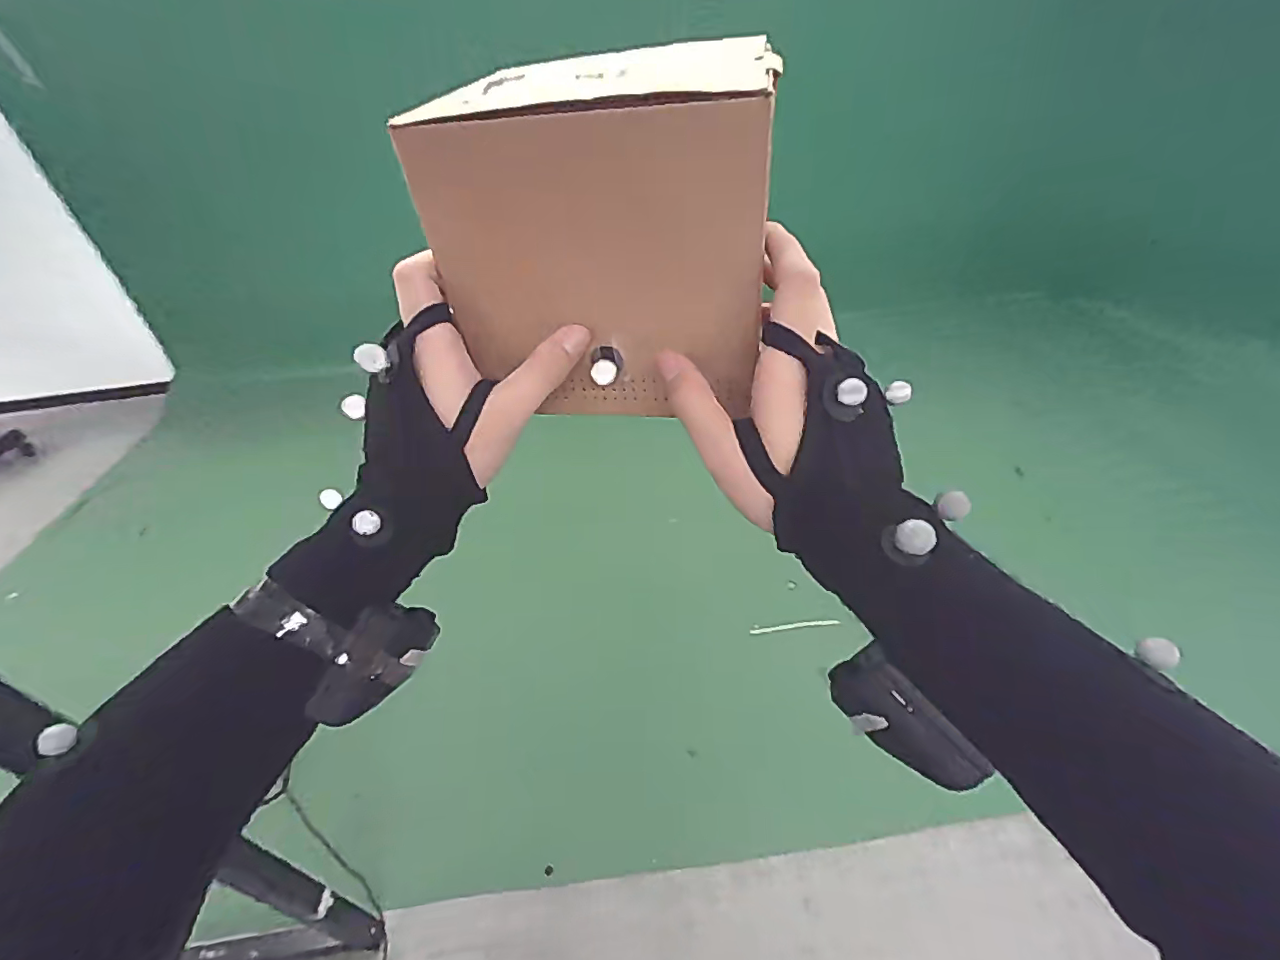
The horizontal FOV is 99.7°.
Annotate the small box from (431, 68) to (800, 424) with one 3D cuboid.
[{"bbox_3d":[0.002,-0.151,0.357,0.179,0.176,0.168,3,43,10],"label":"small box"}]
